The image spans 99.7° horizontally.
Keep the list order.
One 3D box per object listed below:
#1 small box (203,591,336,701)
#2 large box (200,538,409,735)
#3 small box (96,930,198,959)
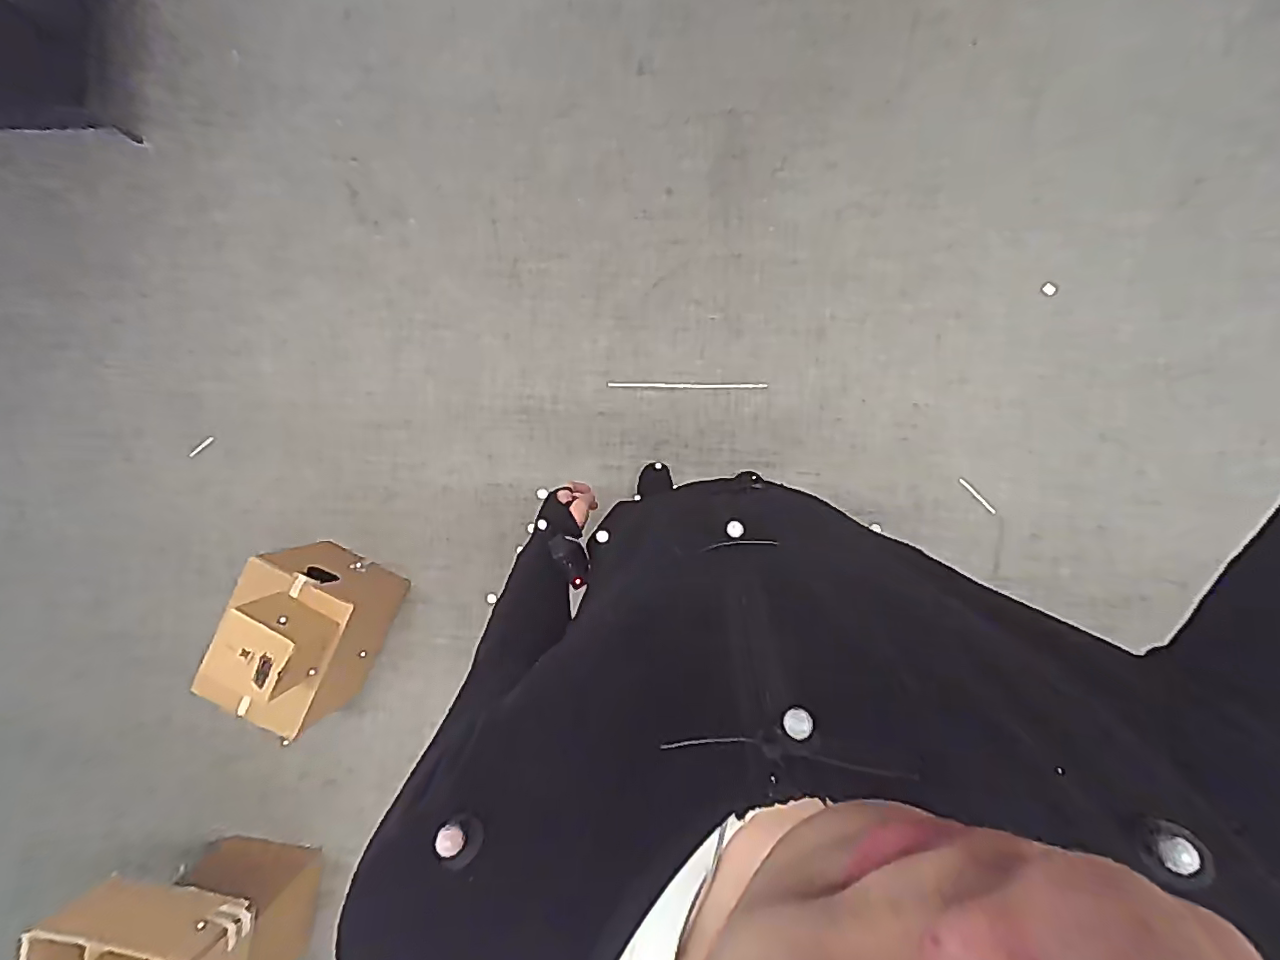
[{"bbox_3d":[-0.884,0.391,1.311,0.179,0.176,0.168,29,93,1],"label":"small box"},{"bbox_3d":[-0.940,0.425,1.561,0.320,0.320,0.408,25,93,3],"label":"large box"},{"bbox_3d":[-1.177,1.186,1.238,0.179,0.176,0.168,10,92,2],"label":"small box"}]
